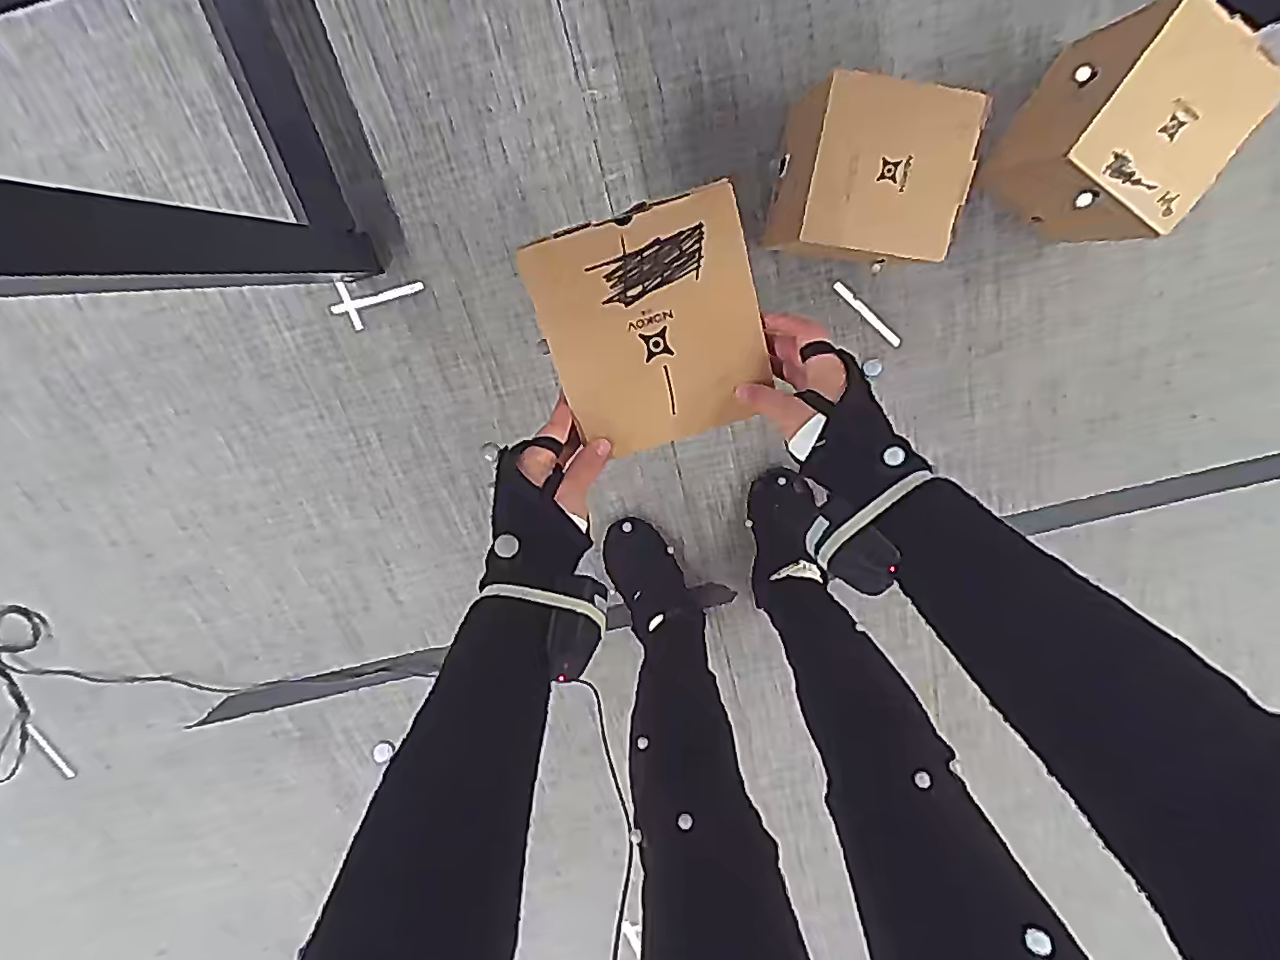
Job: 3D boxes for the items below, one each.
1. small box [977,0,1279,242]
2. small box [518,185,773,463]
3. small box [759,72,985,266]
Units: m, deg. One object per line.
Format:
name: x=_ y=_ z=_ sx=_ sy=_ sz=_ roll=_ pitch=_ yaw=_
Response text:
small box: x=0.562 y=-0.412 z=0.650 sx=0.168 sy=0.176 sz=0.179 roll=27 pitch=107 yaw=-12
small box: x=0.004 y=-0.139 z=0.494 sx=0.168 sy=0.176 sz=0.179 roll=-17 pitch=110 yaw=3
small box: x=0.263 y=-0.360 z=0.659 sx=0.179 sy=0.176 sz=0.168 roll=6 pitch=110 yaw=-4
